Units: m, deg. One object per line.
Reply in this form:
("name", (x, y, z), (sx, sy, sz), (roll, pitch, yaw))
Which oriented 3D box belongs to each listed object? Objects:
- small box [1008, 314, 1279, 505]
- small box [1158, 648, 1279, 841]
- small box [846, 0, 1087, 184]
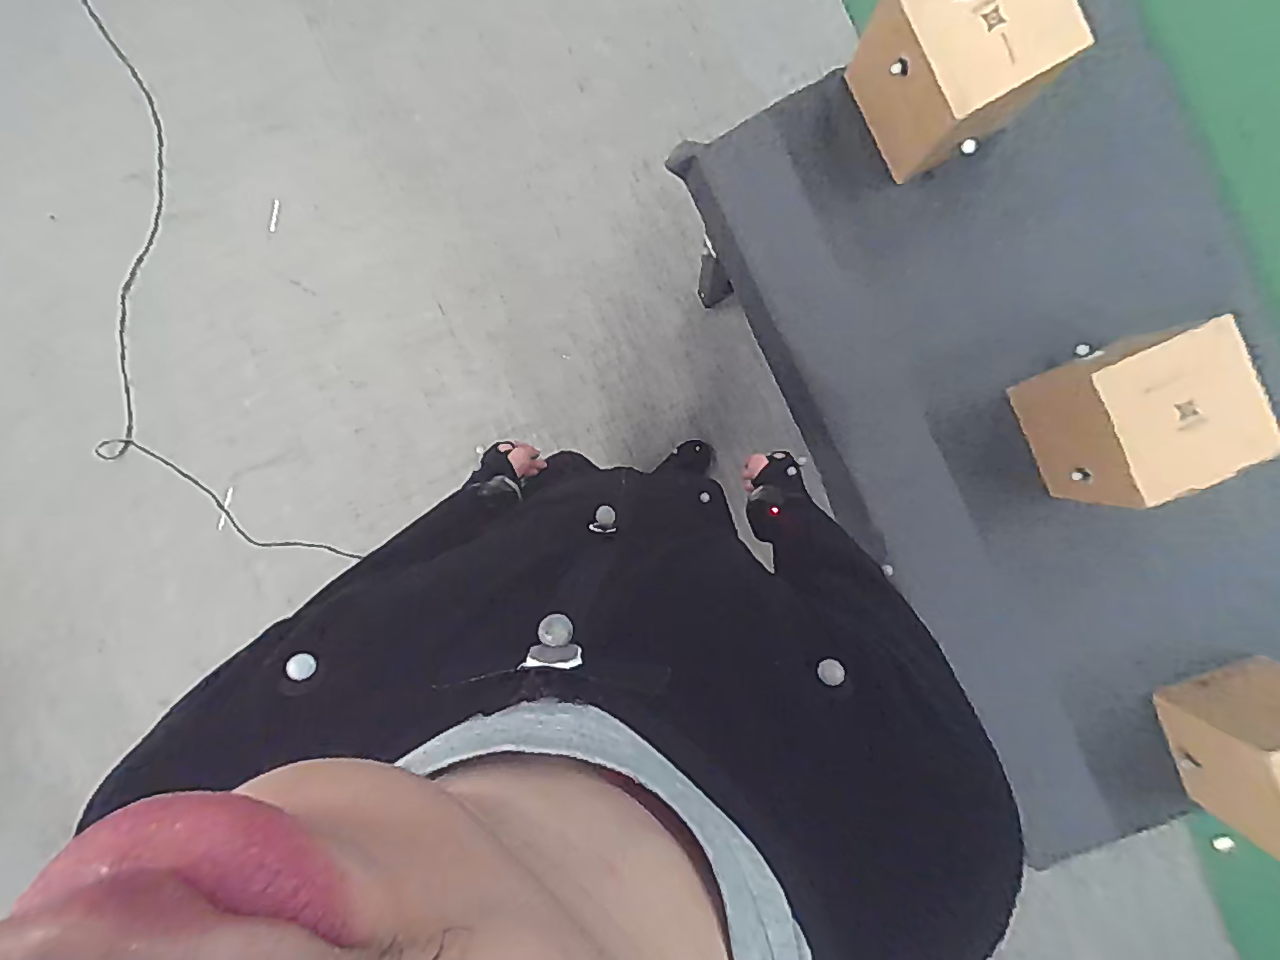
("small box", (0.638, -0.085, 0.708), (0.168, 0.176, 0.179), (-26, 91, 2))
("small box", (0.869, 0.357, 0.723), (0.168, 0.176, 0.179), (-24, 93, 3))
("small box", (0.392, -0.524, 0.686), (0.168, 0.176, 0.179), (-29, 93, 3))
